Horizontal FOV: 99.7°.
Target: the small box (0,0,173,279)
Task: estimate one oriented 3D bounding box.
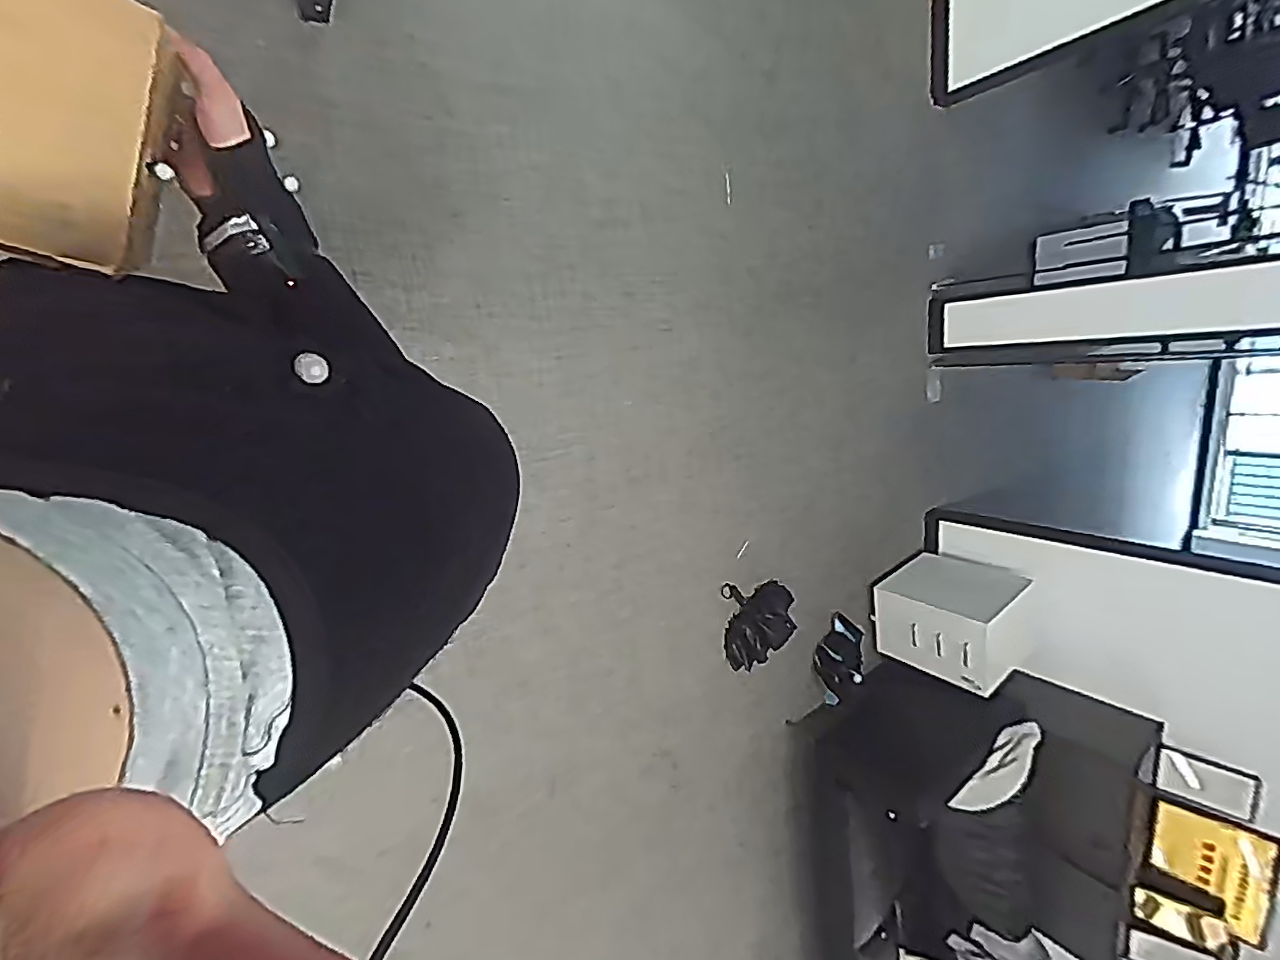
[{"bbox_3d":[-0.445,-0.262,0.375,0.168,0.176,0.179,9,106,-41],"label":"small box"}]
